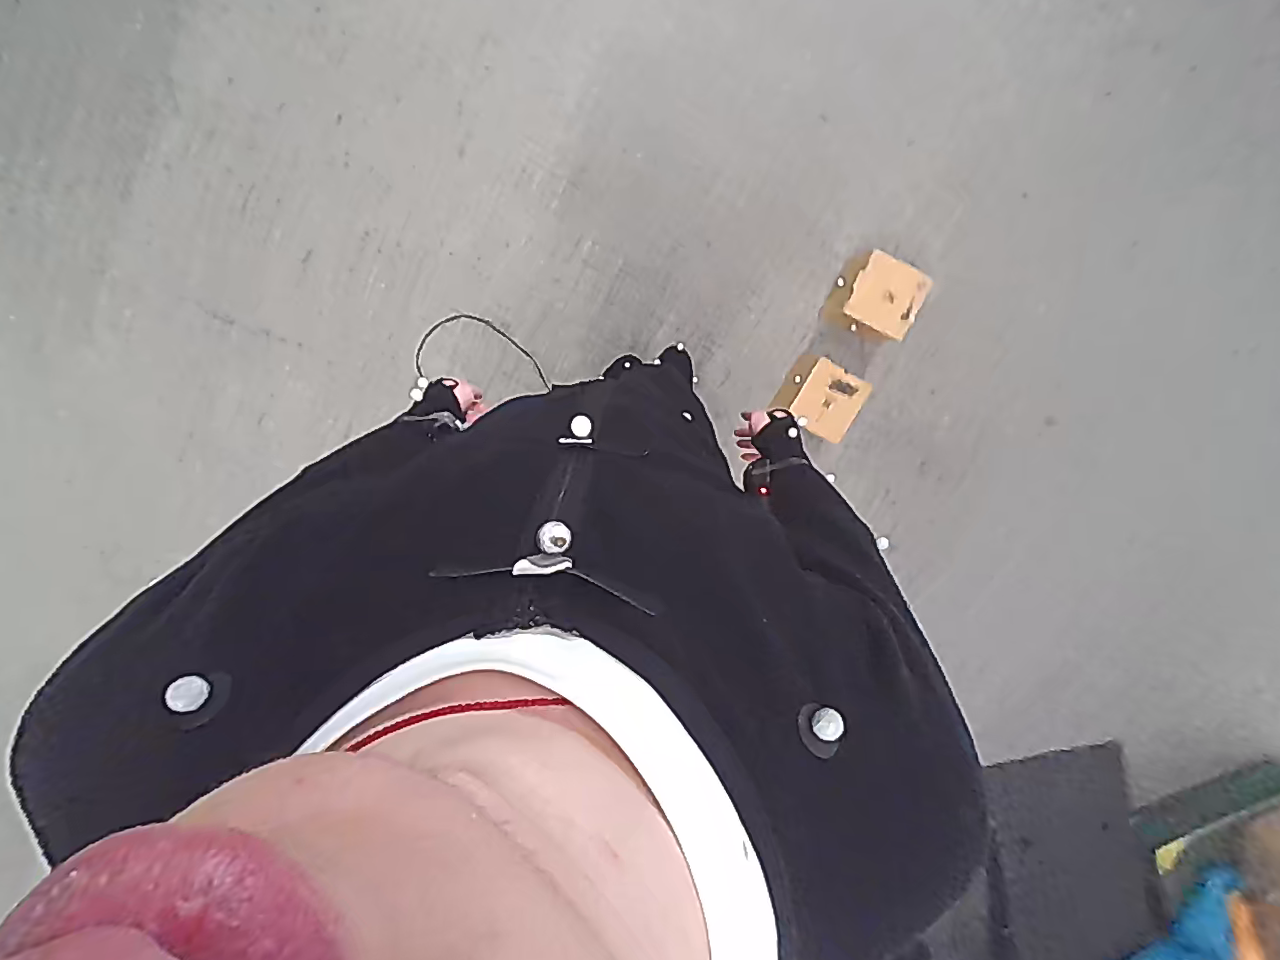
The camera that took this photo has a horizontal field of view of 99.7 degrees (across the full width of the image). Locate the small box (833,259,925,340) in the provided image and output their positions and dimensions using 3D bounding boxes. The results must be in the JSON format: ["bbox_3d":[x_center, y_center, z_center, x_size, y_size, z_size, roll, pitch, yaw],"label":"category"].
[{"bbox_3d":[0.618,-0.466,1.415,0.168,0.176,0.179,-6,103,-4],"label":"small box"}]

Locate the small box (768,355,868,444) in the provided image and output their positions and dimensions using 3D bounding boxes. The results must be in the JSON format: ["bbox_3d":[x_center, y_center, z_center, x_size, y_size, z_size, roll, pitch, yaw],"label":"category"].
[{"bbox_3d":[0.474,-0.223,1.472,0.168,0.176,0.179,32,99,-8],"label":"small box"}]
